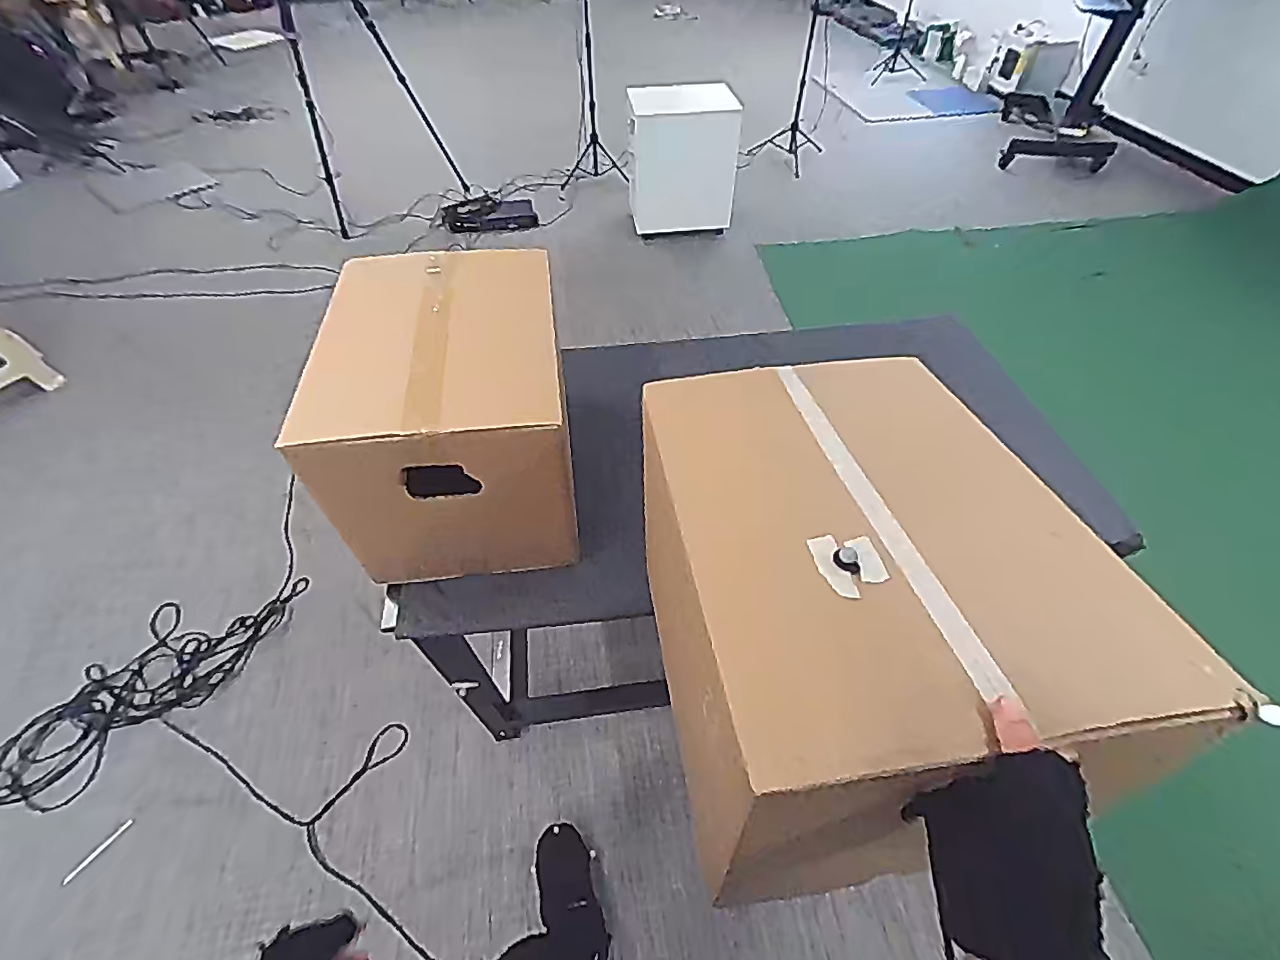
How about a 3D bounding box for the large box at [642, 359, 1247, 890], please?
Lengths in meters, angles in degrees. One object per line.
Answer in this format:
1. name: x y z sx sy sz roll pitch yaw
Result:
1. large box: 0.185 0.121 0.550 0.320 0.320 0.408 -7 44 -5
